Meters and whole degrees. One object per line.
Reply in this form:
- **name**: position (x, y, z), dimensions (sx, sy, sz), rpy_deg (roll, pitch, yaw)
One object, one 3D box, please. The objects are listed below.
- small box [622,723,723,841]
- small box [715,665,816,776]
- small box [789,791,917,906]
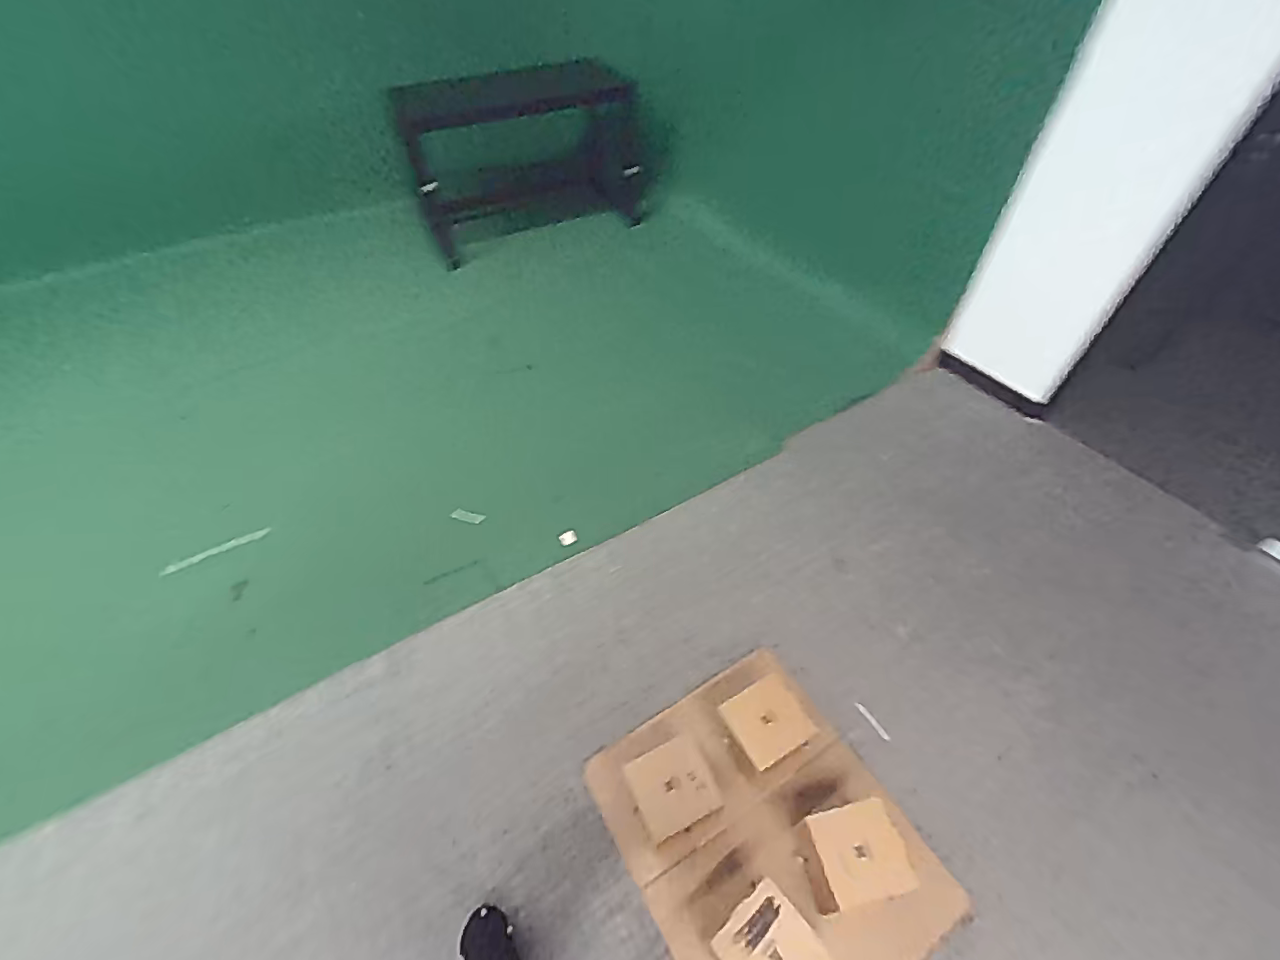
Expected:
- **small box**: position (0.070, 0.699, 1.245), dimensions (0.179, 0.176, 0.168), rpy_deg (-20, 53, -16)
- **small box**: position (0.299, 0.597, 1.333), dimensions (0.179, 0.176, 0.168), rpy_deg (-23, 54, -19)
- **small box**: position (0.445, 0.792, 1.161), dimensions (0.179, 0.176, 0.168), rpy_deg (-9, 50, -8)
